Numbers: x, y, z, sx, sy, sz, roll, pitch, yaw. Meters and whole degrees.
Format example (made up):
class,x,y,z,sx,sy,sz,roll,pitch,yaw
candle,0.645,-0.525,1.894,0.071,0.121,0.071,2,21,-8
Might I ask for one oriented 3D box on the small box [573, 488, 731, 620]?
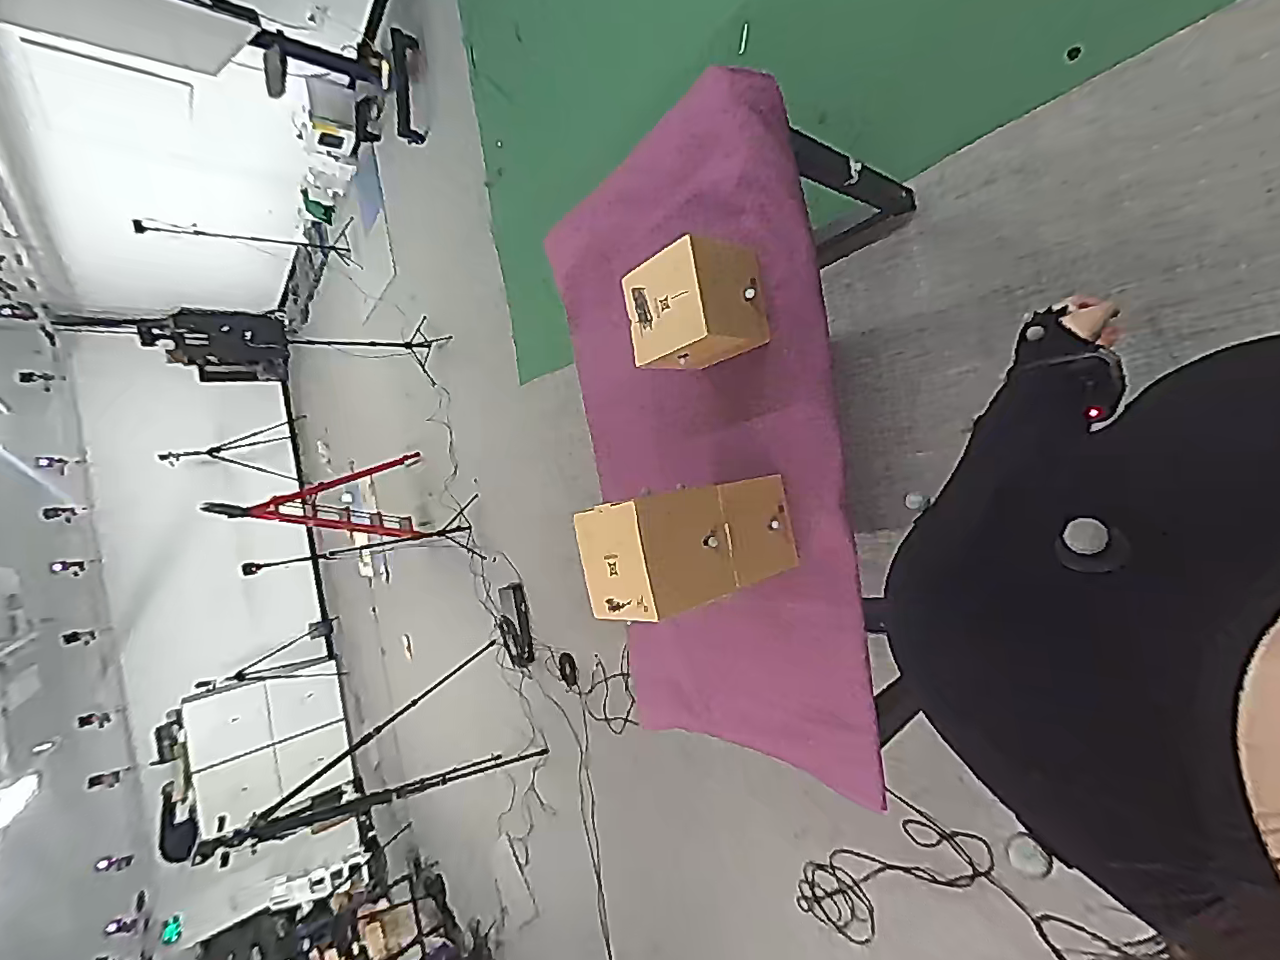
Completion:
class,x,y,z,sx,sy,sz,roll,pitch,yaw
small box,0.019,0.110,0.856,0.168,0.176,0.179,-15,85,52

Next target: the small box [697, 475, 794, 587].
class,x,y,z,sx,sy,sz,roll,pitch,yaw
small box,0.144,0.090,0.961,0.179,0.176,0.168,-14,87,51

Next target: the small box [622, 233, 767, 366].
class,x,y,z,sx,sy,sz,roll,pitch,yaw
small box,0.095,-0.302,0.949,0.179,0.176,0.168,-11,88,50
